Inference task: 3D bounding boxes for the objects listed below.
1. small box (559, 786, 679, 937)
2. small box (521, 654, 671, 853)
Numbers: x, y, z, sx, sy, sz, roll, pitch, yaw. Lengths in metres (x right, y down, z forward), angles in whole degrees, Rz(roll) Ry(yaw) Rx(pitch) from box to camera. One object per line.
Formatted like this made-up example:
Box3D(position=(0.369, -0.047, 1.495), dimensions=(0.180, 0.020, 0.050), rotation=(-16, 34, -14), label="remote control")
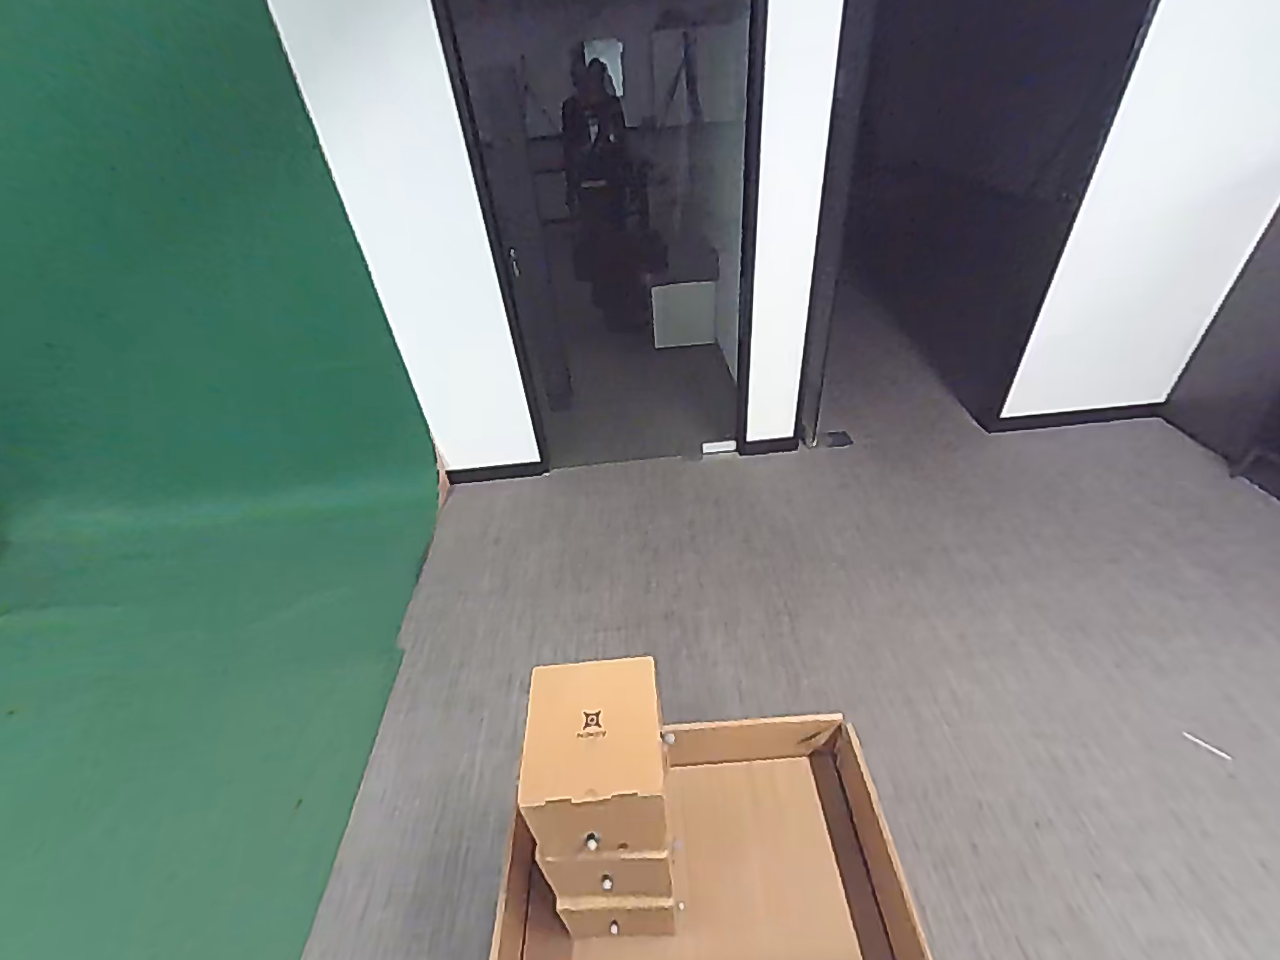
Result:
Box3D(position=(-0.026, 0.628, 0.893), dimensions=(0.179, 0.176, 0.168), rotation=(-4, 38, 3), label="small box")
Box3D(position=(-0.049, 0.356, 0.711), dimensions=(0.168, 0.176, 0.179), rotation=(-6, 38, 1), label="small box")
